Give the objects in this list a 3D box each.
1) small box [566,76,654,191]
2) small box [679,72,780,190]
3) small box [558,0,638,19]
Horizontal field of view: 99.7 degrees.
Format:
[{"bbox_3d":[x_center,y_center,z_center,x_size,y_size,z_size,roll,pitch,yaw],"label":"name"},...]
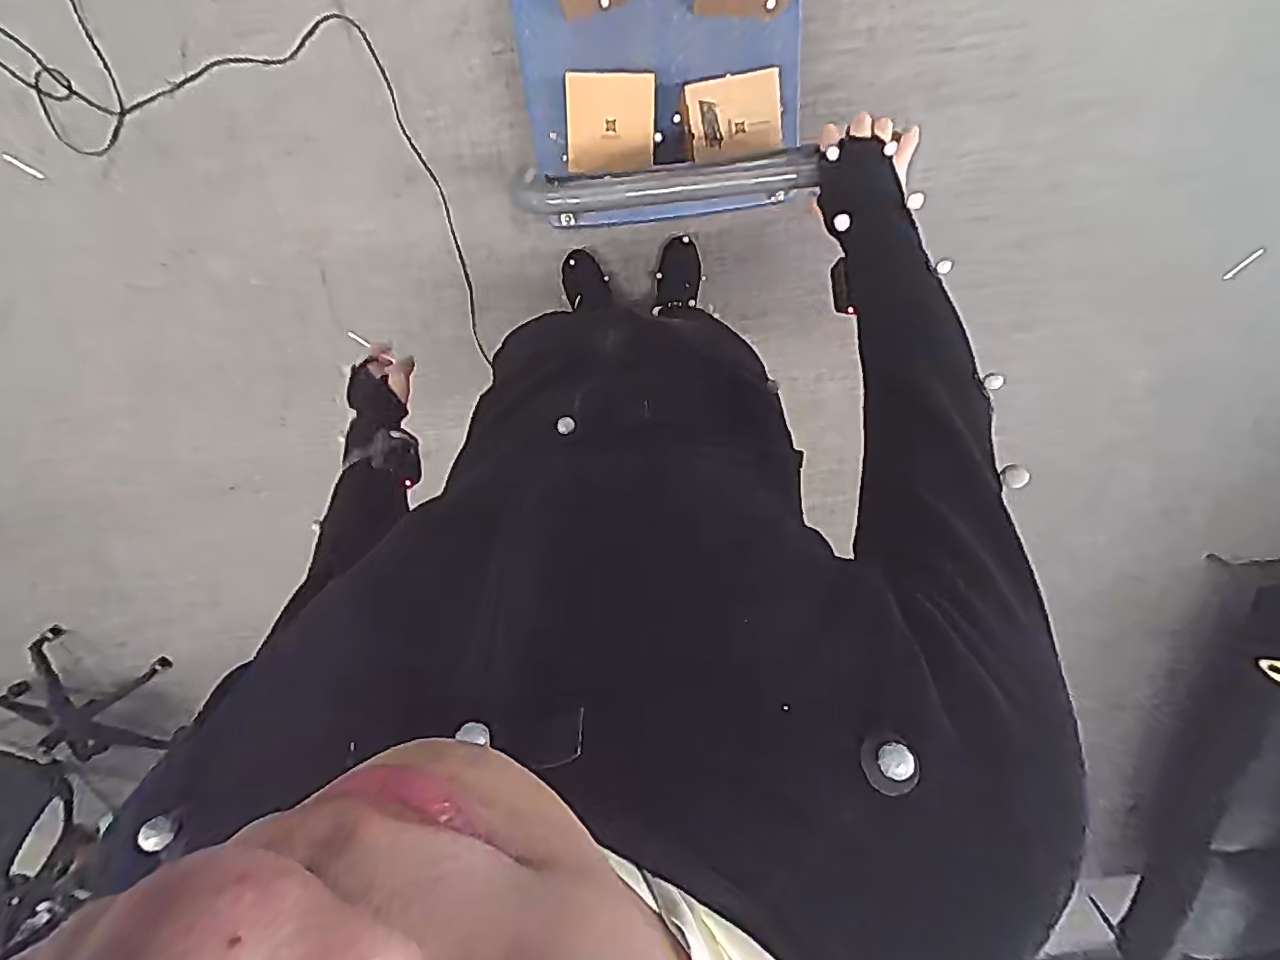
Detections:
[{"bbox_3d":[-0.061,-0.693,1.098,0.168,0.176,0.179,0,116,-2],"label":"small box"},{"bbox_3d":[0.176,-0.697,1.101,0.179,0.176,0.168,-9,116,3],"label":"small box"},{"bbox_3d":[-0.089,-0.966,0.966,0.168,0.176,0.179,-15,115,5],"label":"small box"}]
